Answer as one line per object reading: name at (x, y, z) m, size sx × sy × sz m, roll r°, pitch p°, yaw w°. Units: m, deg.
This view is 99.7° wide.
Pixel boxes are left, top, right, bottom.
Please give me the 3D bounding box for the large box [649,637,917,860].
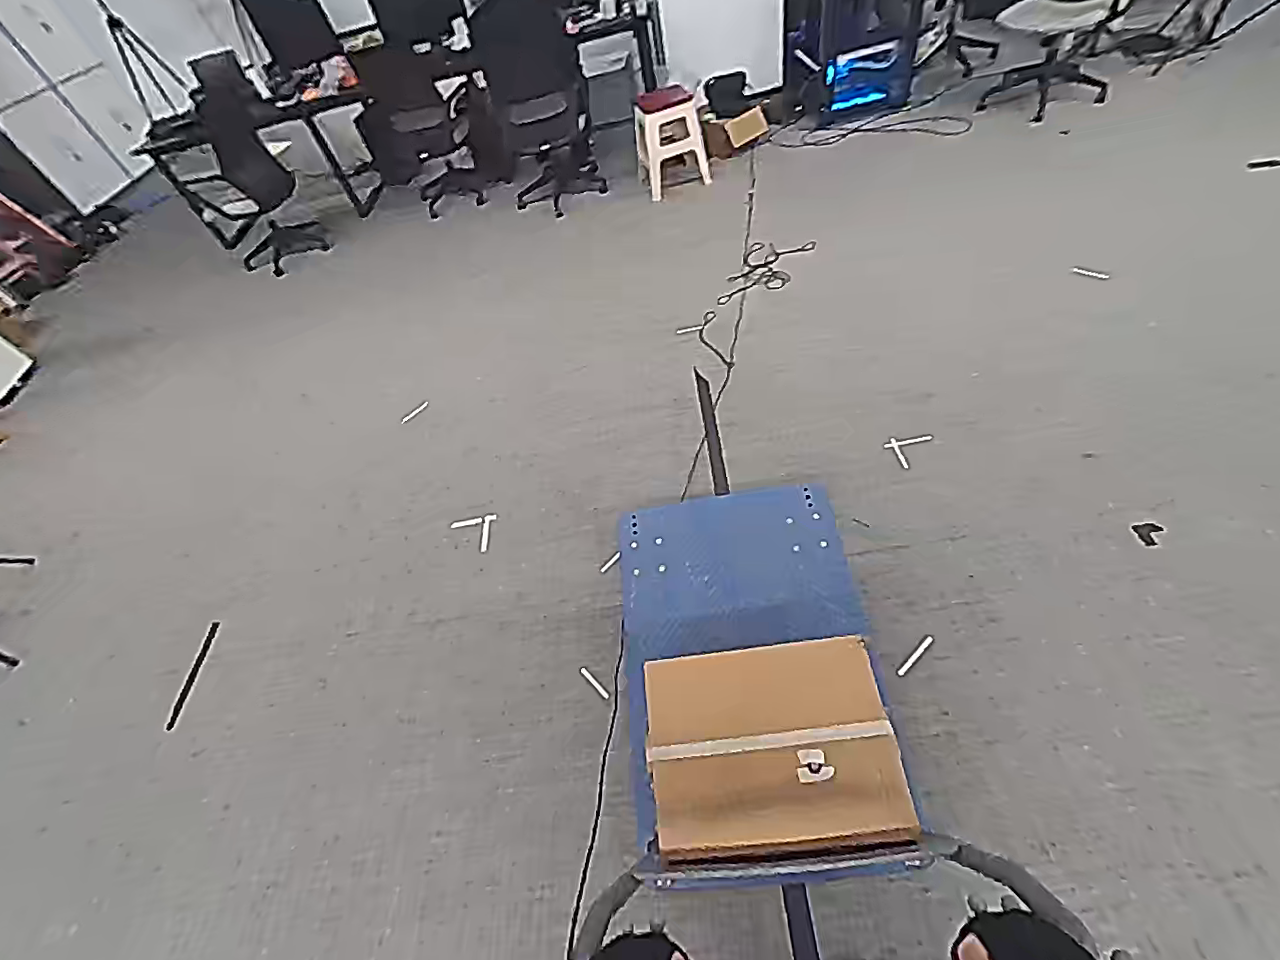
large box at (0.247, 0.530, 1.057) m, size 0.408 × 0.320 × 0.320 m, roll -9°, pitch 58°, yaw 6°
